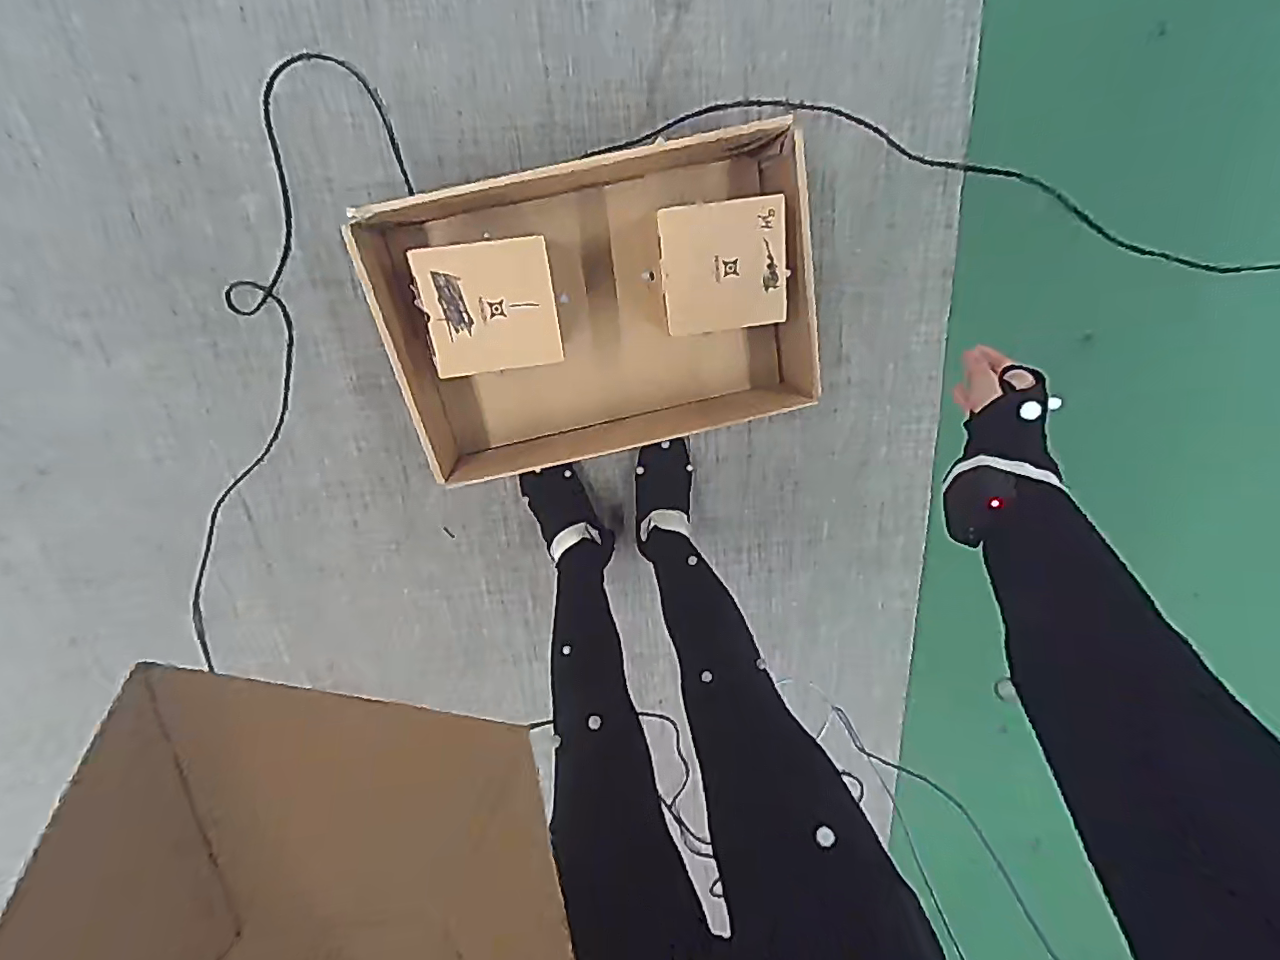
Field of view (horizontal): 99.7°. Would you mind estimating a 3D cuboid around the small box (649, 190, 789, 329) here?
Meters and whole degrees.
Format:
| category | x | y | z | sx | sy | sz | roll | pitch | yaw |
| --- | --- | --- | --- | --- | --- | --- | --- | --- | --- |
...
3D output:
| category | x | y | z | sx | sy | sz | roll | pitch | yaw |
| --- | --- | --- | --- | --- | --- | --- | --- | --- | --- |
| small box | 0.109 | -0.323 | 0.807 | 0.179 | 0.176 | 0.168 | -8 | 112 | -4 |
